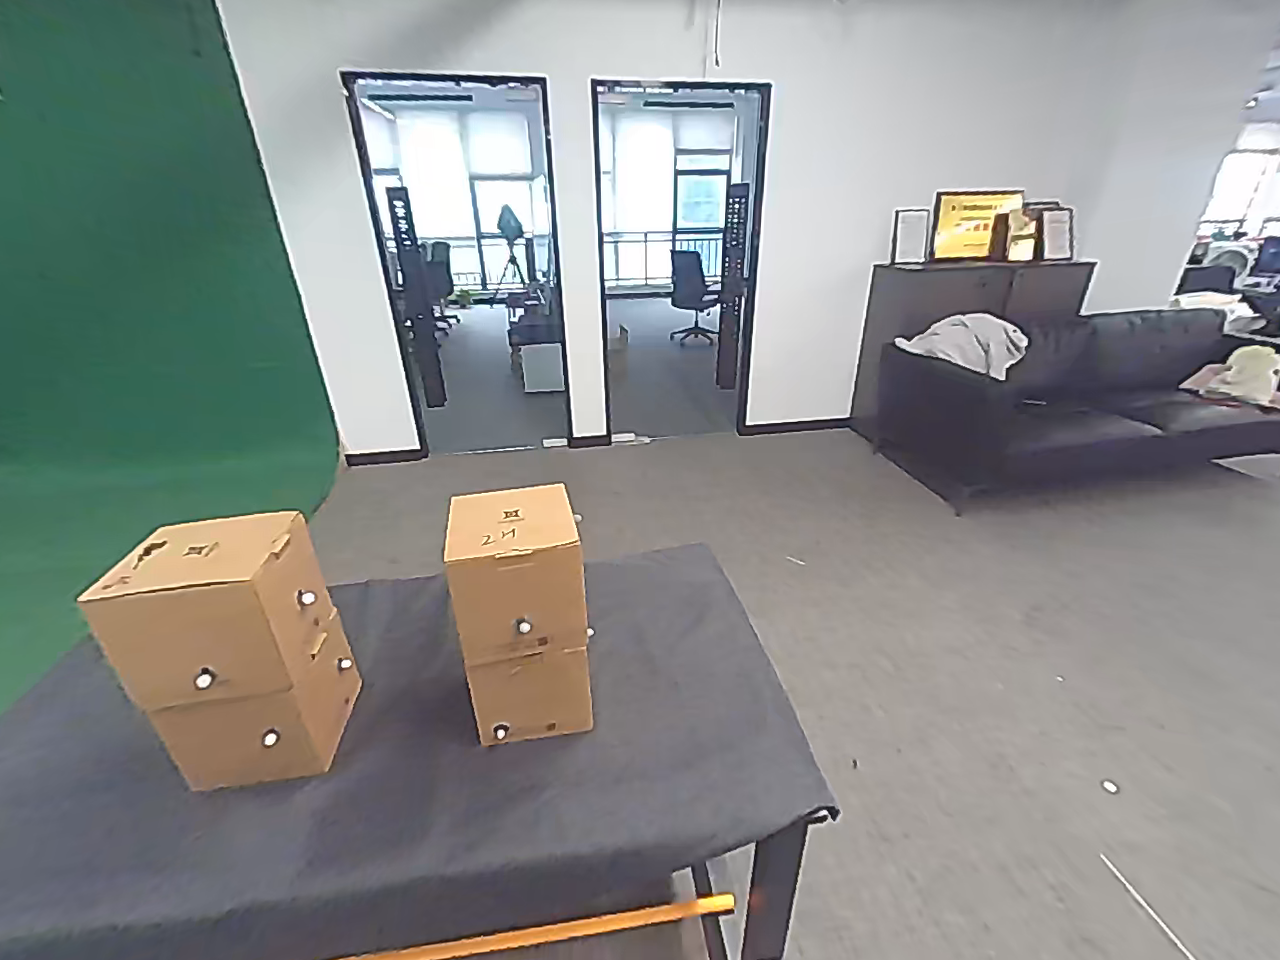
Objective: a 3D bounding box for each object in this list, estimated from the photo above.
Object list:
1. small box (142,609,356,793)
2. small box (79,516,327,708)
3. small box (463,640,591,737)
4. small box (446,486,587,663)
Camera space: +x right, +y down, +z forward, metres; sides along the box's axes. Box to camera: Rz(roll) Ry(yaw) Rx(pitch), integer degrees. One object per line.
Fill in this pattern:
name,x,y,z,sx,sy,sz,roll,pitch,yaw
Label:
small box,-0.534,0.311,0.775,0.179,0.176,0.168,-5,25,-8
small box,-0.535,0.164,0.699,0.179,0.176,0.168,-5,25,-11
small box,-0.167,0.274,0.840,0.168,0.176,0.179,-5,25,-8
small box,-0.172,0.127,0.767,0.168,0.176,0.179,-8,26,-13
